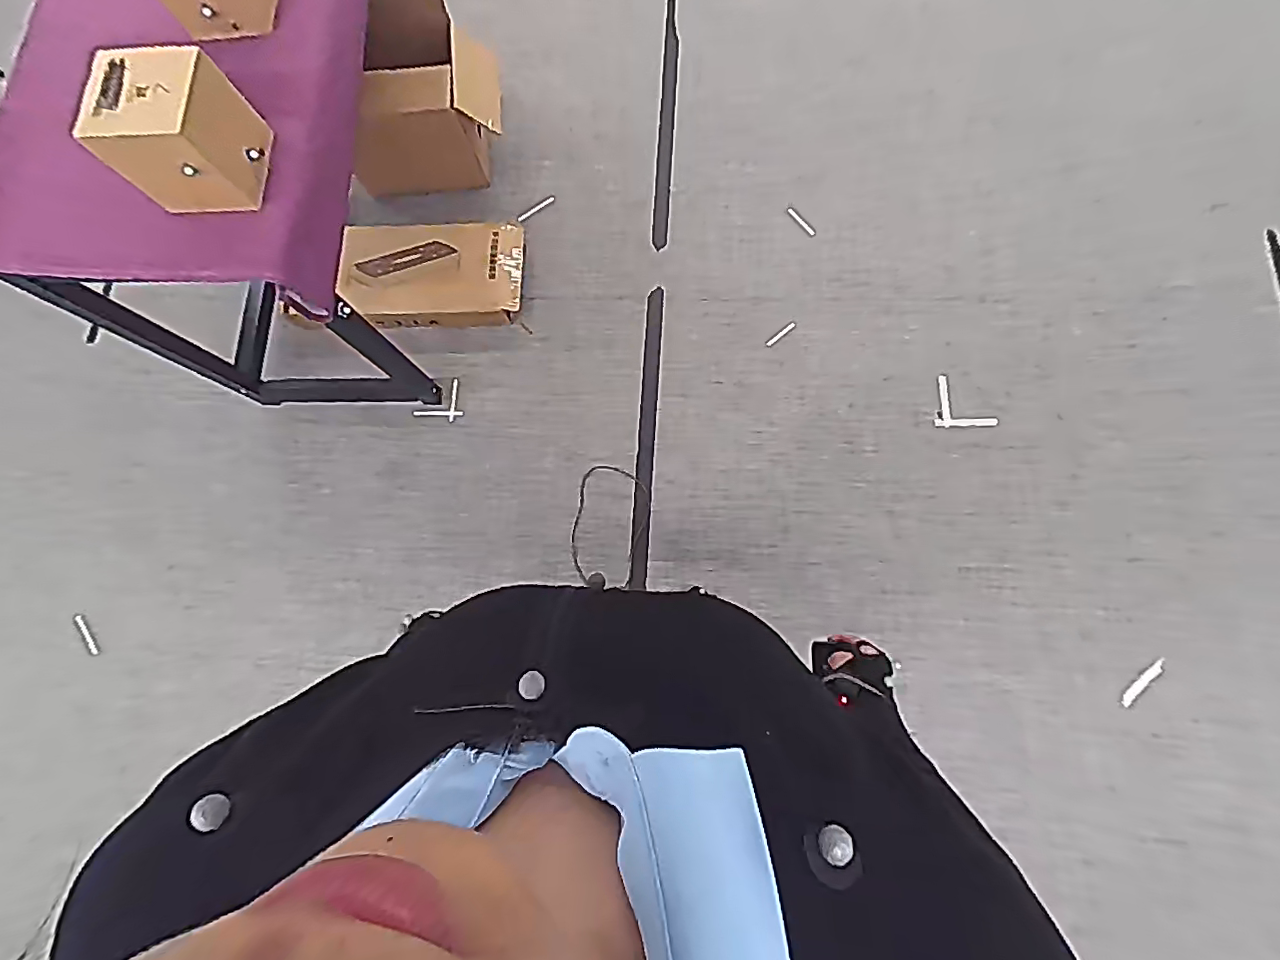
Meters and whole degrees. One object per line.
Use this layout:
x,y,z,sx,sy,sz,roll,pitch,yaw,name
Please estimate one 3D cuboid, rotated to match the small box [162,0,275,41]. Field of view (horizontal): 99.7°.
-0.802,-0.960,0.992,0.168,0.176,0.179,-1,78,6,small box
